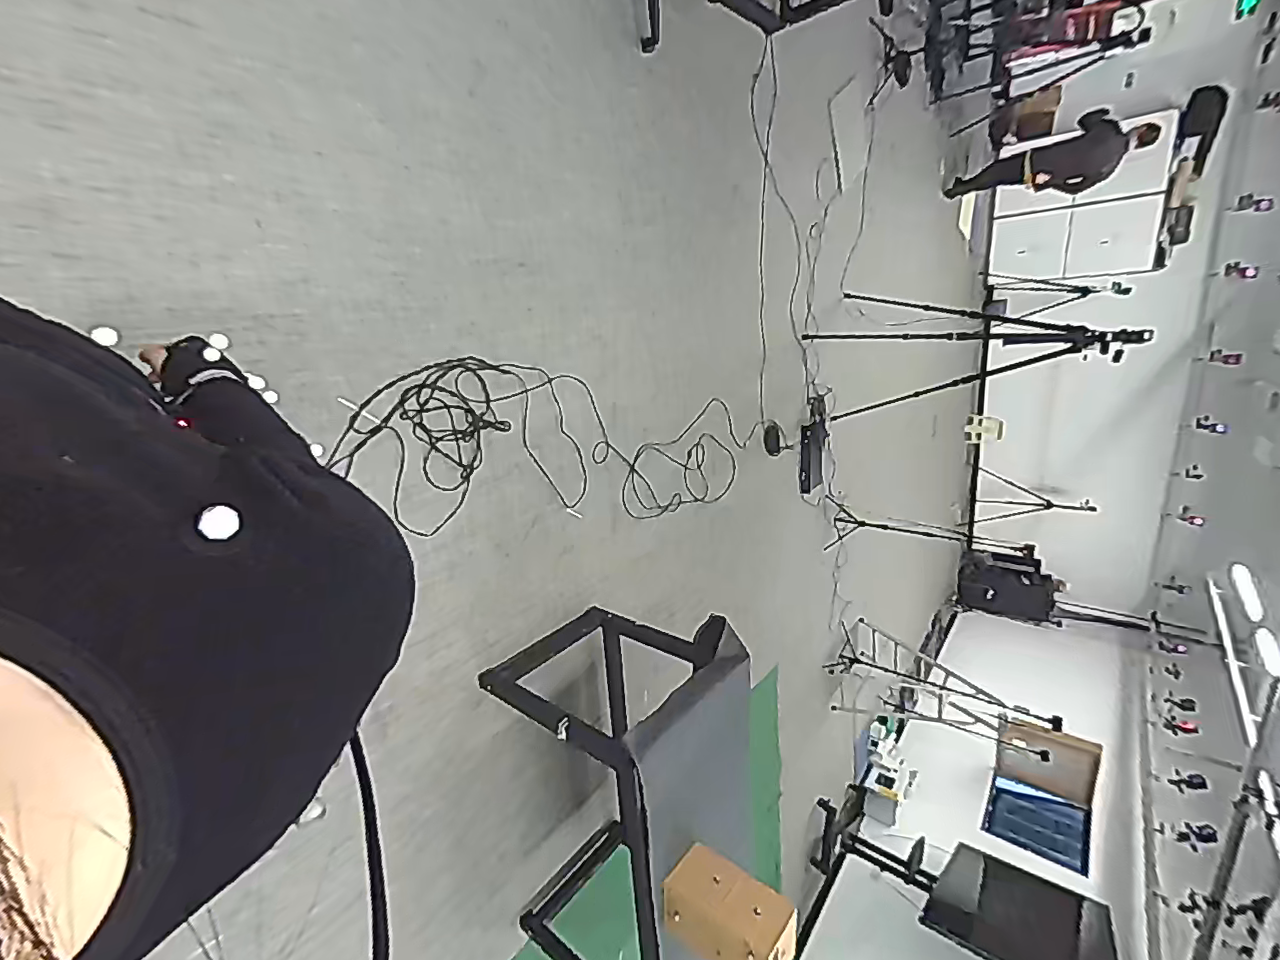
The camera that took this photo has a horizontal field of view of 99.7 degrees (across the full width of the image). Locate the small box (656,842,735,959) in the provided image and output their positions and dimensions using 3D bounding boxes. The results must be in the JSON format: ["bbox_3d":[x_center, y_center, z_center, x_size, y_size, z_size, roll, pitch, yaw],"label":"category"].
[{"bbox_3d":[0.163,1.221,1.588,0.179,0.176,0.168,-16,109,-49],"label":"small box"}]
